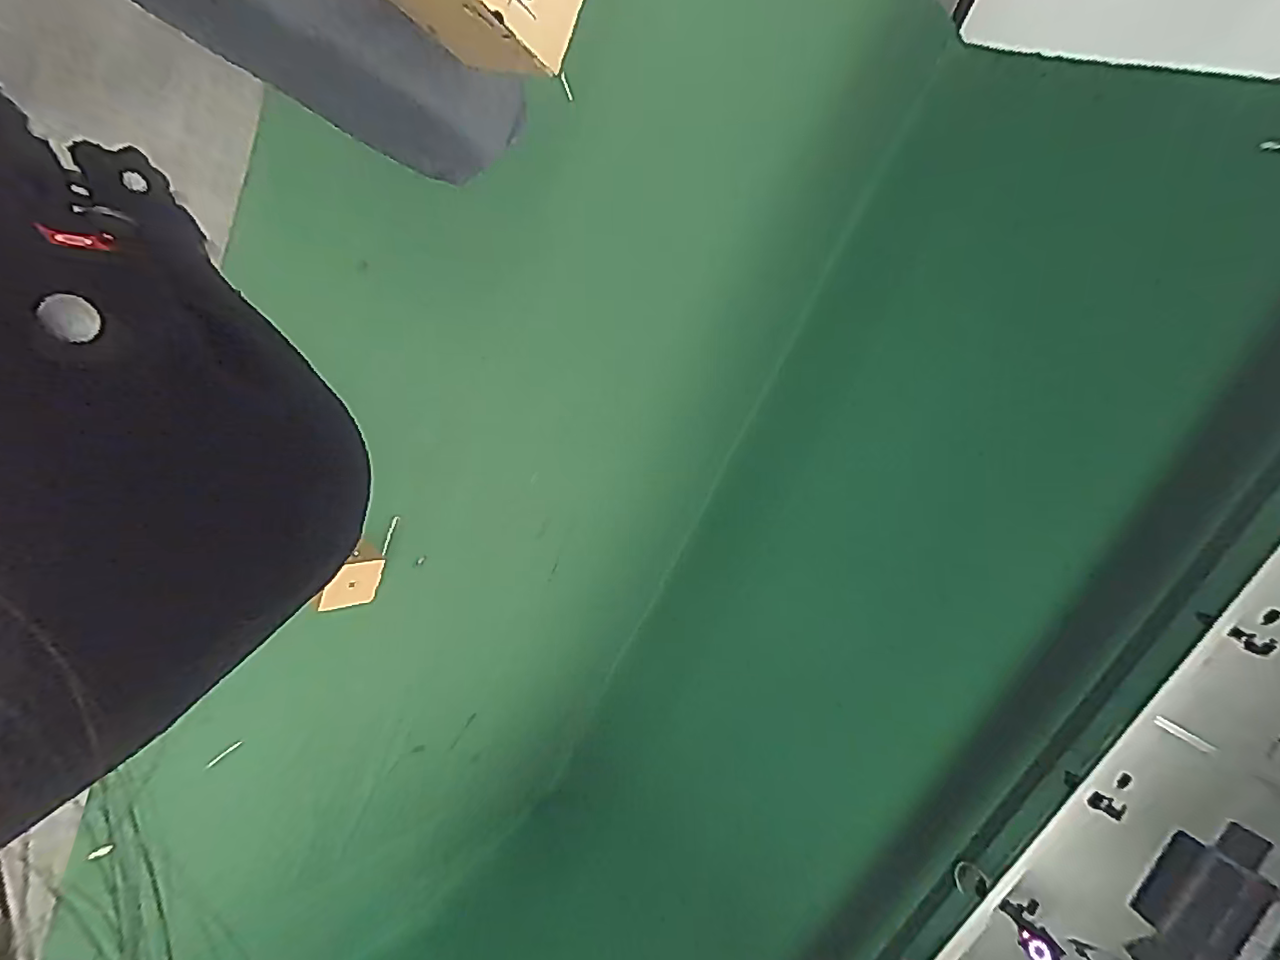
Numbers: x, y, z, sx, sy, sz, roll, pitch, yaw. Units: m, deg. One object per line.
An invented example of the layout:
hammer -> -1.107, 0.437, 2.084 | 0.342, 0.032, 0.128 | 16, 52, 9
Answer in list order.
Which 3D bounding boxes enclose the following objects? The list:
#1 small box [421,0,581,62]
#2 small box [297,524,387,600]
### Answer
small box -> -0.156, -0.562, 0.530 | 0.168, 0.176, 0.179 | 3, 115, -58
small box -> -0.946, 0.252, 1.714 | 0.179, 0.176, 0.168 | -1, 119, -56
